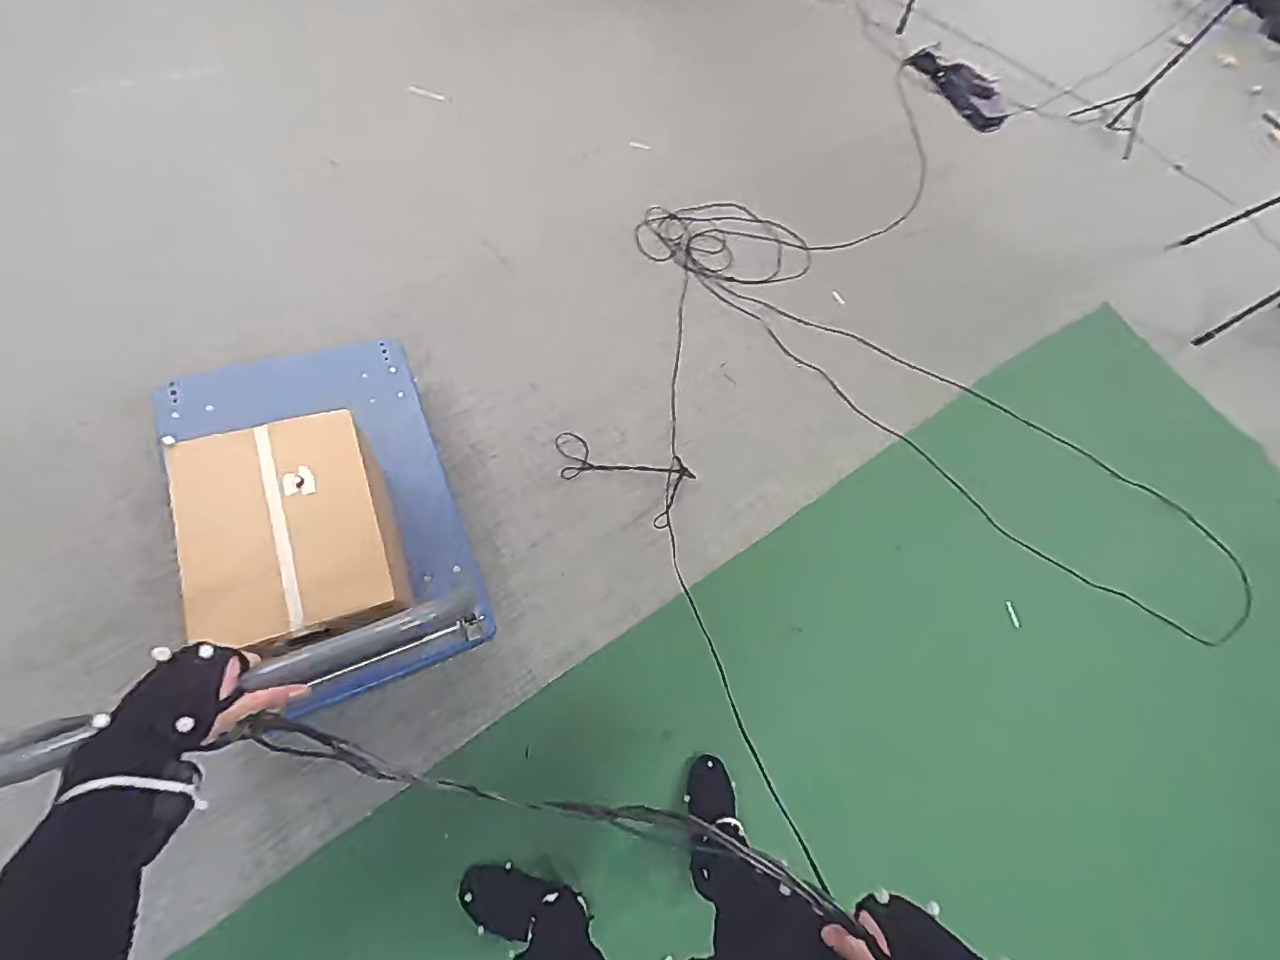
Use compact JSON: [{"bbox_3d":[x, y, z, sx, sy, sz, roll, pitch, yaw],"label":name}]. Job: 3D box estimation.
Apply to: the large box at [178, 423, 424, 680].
[{"bbox_3d":[-0.672,0.155,1.119,0.320,0.320,0.408,-15,71,-20],"label":"large box"}]
